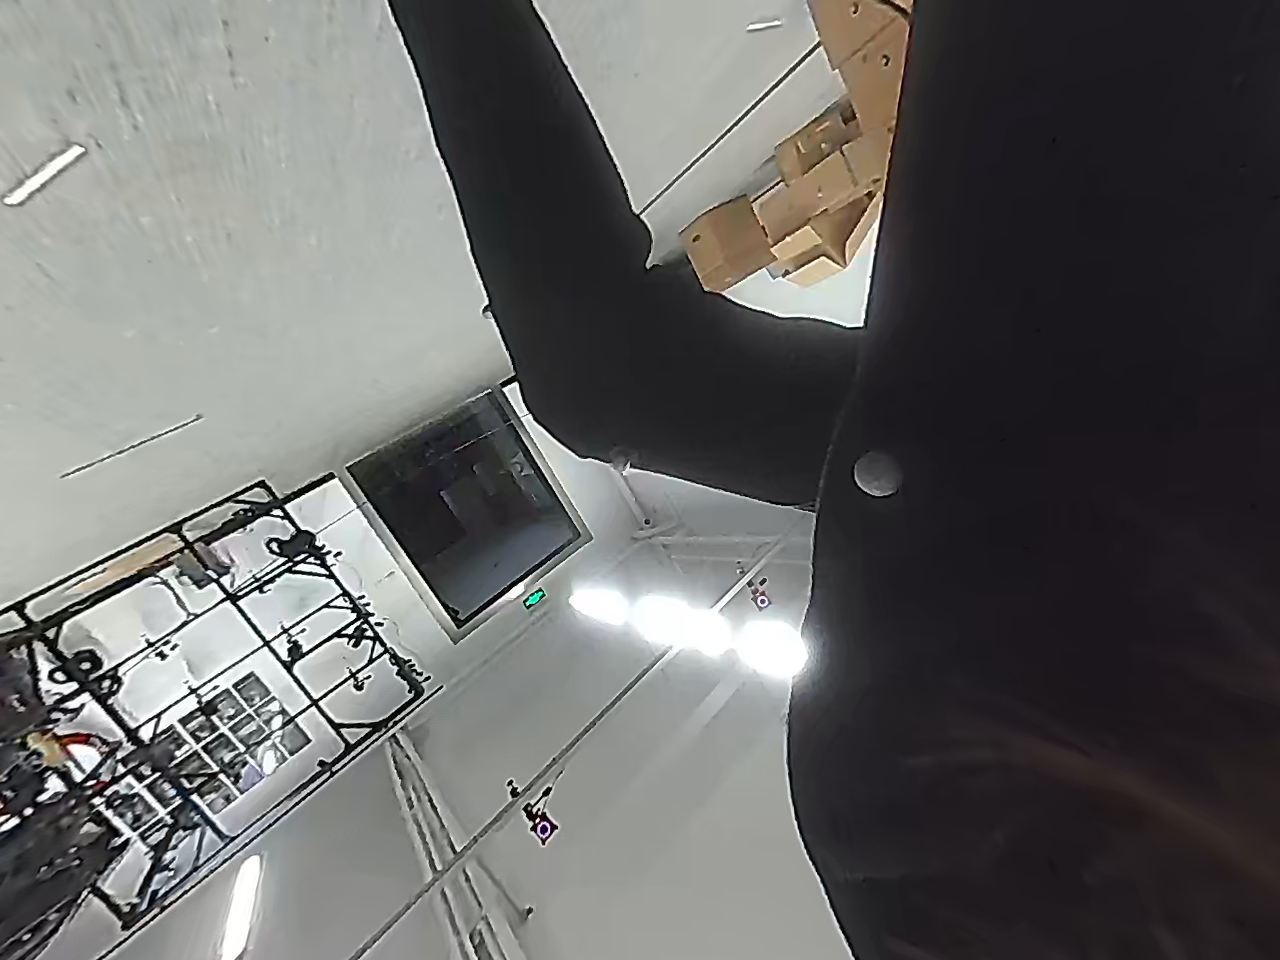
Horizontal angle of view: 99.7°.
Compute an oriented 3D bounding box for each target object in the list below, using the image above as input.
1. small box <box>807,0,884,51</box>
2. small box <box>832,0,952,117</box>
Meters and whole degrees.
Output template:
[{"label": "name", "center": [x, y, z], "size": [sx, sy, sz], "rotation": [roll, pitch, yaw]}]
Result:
[{"label": "small box", "center": [0.484, -1.105, 1.190], "size": [0.168, 0.176, 0.179], "rotation": [-38, -165, -27]}, {"label": "small box", "center": [0.573, -0.976, 1.232], "size": [0.179, 0.176, 0.168], "rotation": [-38, -164, -31]}]
